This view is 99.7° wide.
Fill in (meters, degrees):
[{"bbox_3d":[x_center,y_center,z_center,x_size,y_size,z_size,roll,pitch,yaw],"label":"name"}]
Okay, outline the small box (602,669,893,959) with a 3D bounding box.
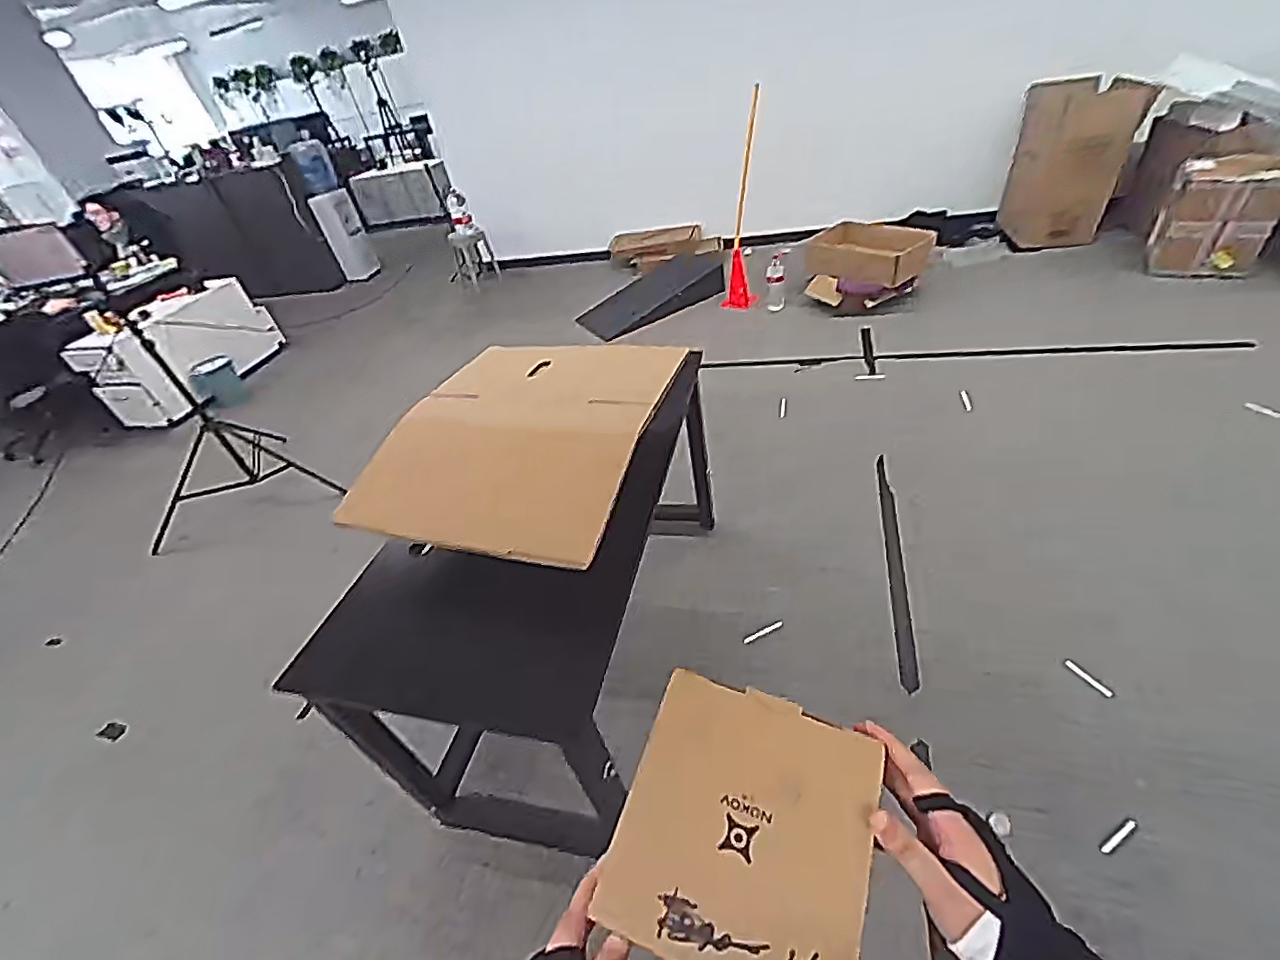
[{"bbox_3d":[0.090,0.289,0.437,0.168,0.176,0.179,13,54,21],"label":"small box"}]
